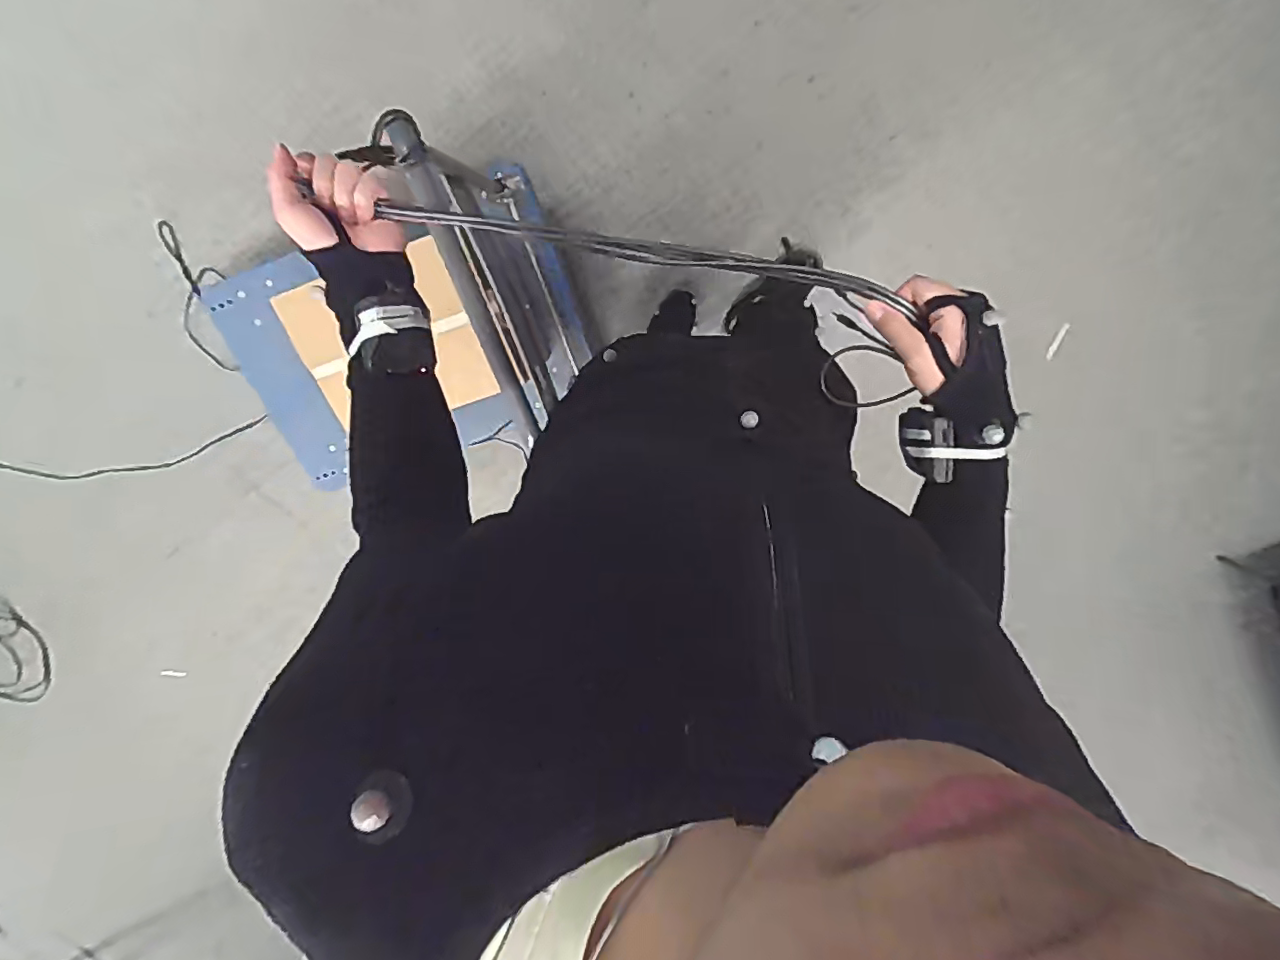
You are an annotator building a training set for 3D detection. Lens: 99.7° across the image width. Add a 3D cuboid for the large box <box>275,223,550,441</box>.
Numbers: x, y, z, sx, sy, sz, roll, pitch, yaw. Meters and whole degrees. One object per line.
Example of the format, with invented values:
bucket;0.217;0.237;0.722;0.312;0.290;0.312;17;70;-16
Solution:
large box;-0.461;-0.333;1.194;0.408;0.320;0.320;-17;111;9
